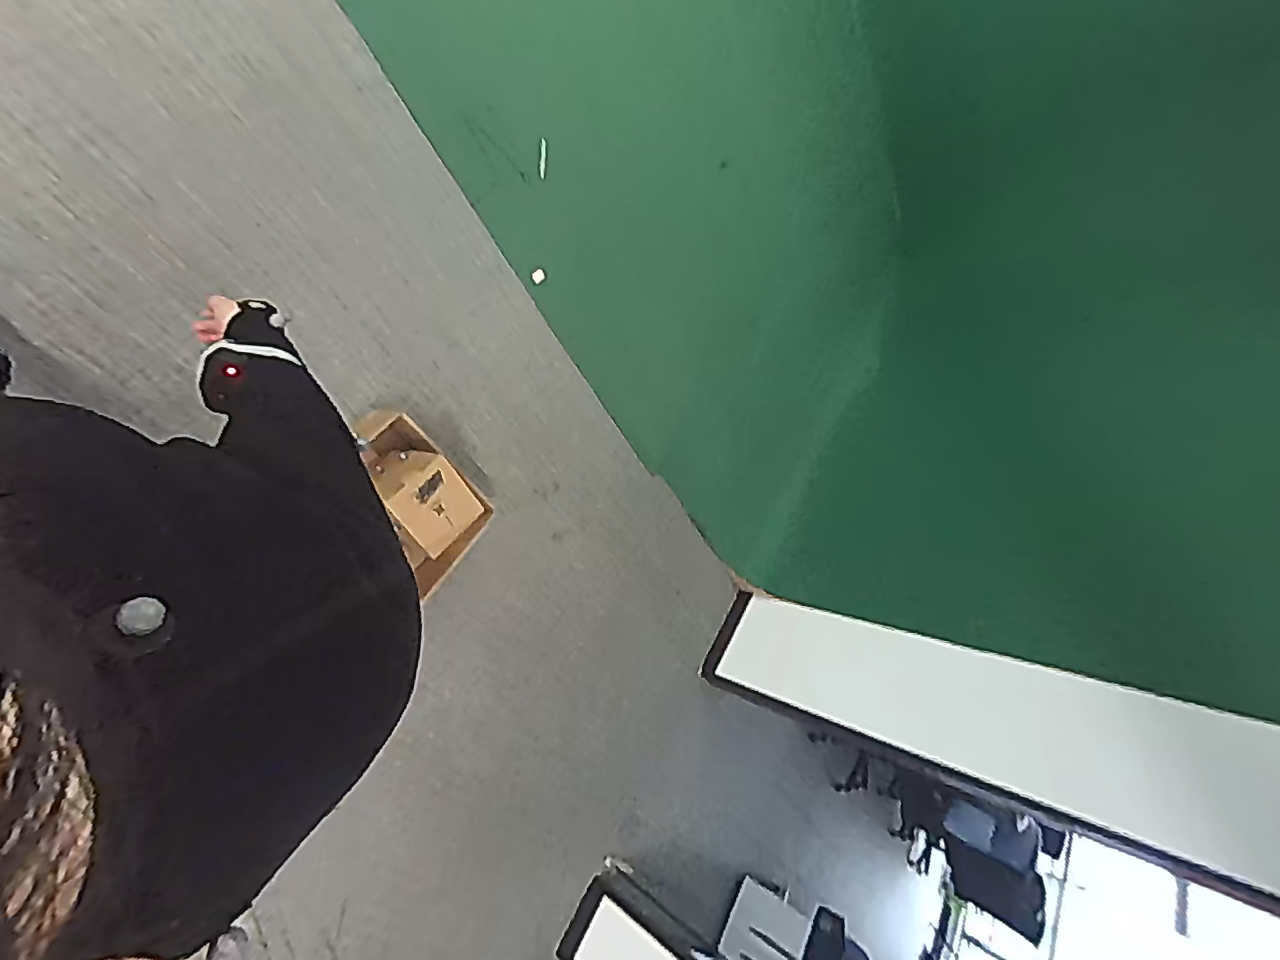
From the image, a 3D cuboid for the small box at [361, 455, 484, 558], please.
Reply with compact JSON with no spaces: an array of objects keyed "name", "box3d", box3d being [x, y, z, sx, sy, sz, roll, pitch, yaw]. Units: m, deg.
[{"name":"small box","box3d":[-0.511,0.054,1.266,0.168,0.176,0.179,-49,127,-30]}]
